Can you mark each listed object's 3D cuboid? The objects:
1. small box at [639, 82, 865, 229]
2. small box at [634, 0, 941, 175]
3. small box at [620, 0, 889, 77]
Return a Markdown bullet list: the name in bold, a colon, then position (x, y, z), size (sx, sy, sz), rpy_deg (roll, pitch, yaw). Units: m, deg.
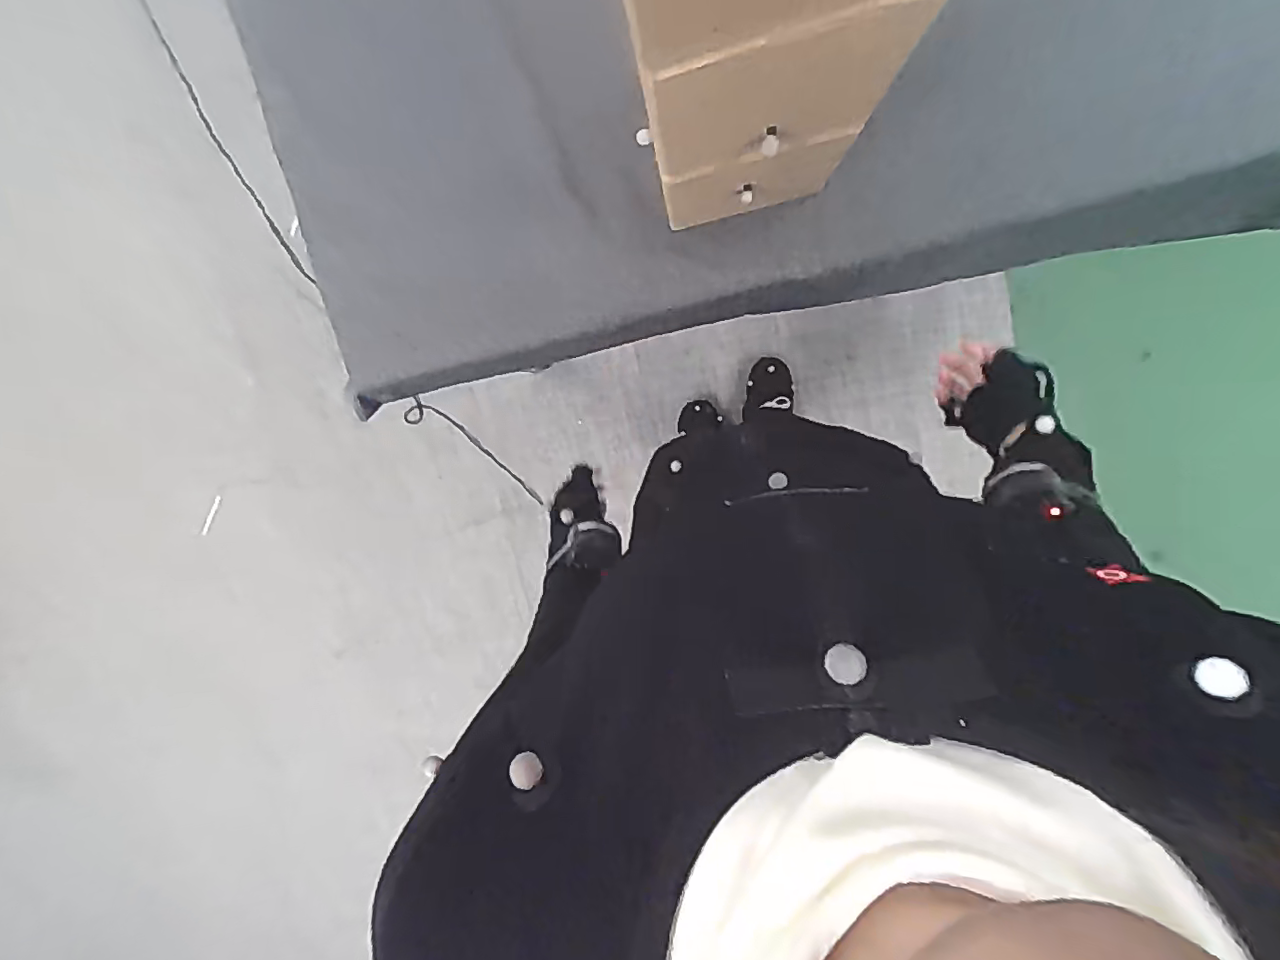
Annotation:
- **small box**: position (0.097, -0.376, 0.541), size (0.179, 0.176, 0.168), rpy_deg (-15, 100, 8)
- **small box**: position (0.078, -0.347, 0.381), size (0.179, 0.176, 0.168), rpy_deg (-12, 100, 8)
- **small box**: position (0.057, -0.318, 0.222), size (0.179, 0.176, 0.168), rpy_deg (-13, 99, 9)
